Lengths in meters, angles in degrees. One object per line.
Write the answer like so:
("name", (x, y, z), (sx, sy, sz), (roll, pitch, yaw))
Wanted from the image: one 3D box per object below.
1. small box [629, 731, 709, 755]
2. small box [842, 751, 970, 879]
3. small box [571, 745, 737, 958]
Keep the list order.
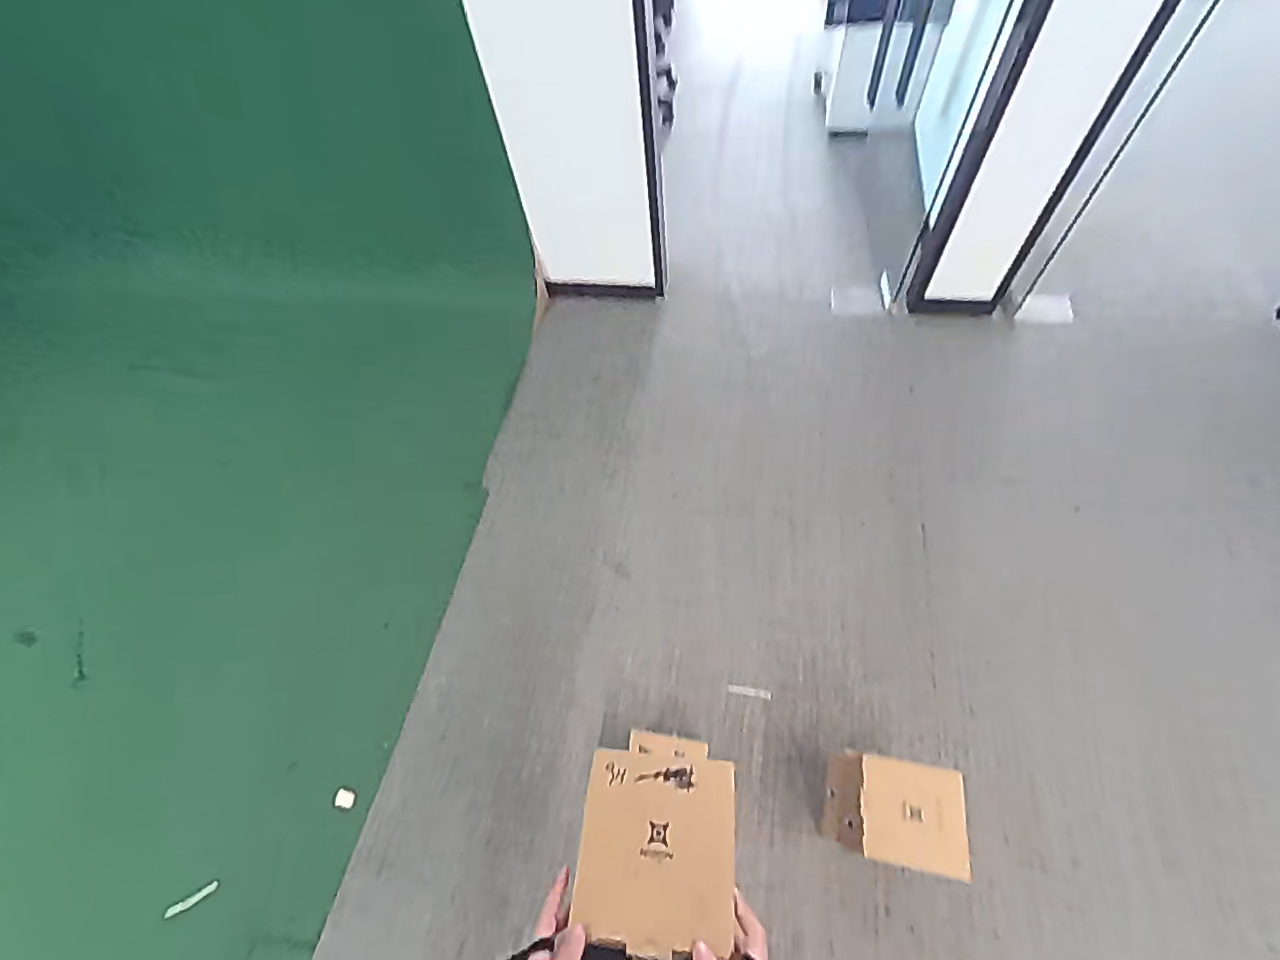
("small box", (0.060, 0.682, 1.225), (0.179, 0.176, 0.168), (6, 59, 8))
("small box", (0.487, 0.628, 1.020), (0.179, 0.176, 0.168), (8, 60, 10))
("small box", (0.026, 0.432, 0.632), (0.168, 0.176, 0.179), (2, 49, 6))
